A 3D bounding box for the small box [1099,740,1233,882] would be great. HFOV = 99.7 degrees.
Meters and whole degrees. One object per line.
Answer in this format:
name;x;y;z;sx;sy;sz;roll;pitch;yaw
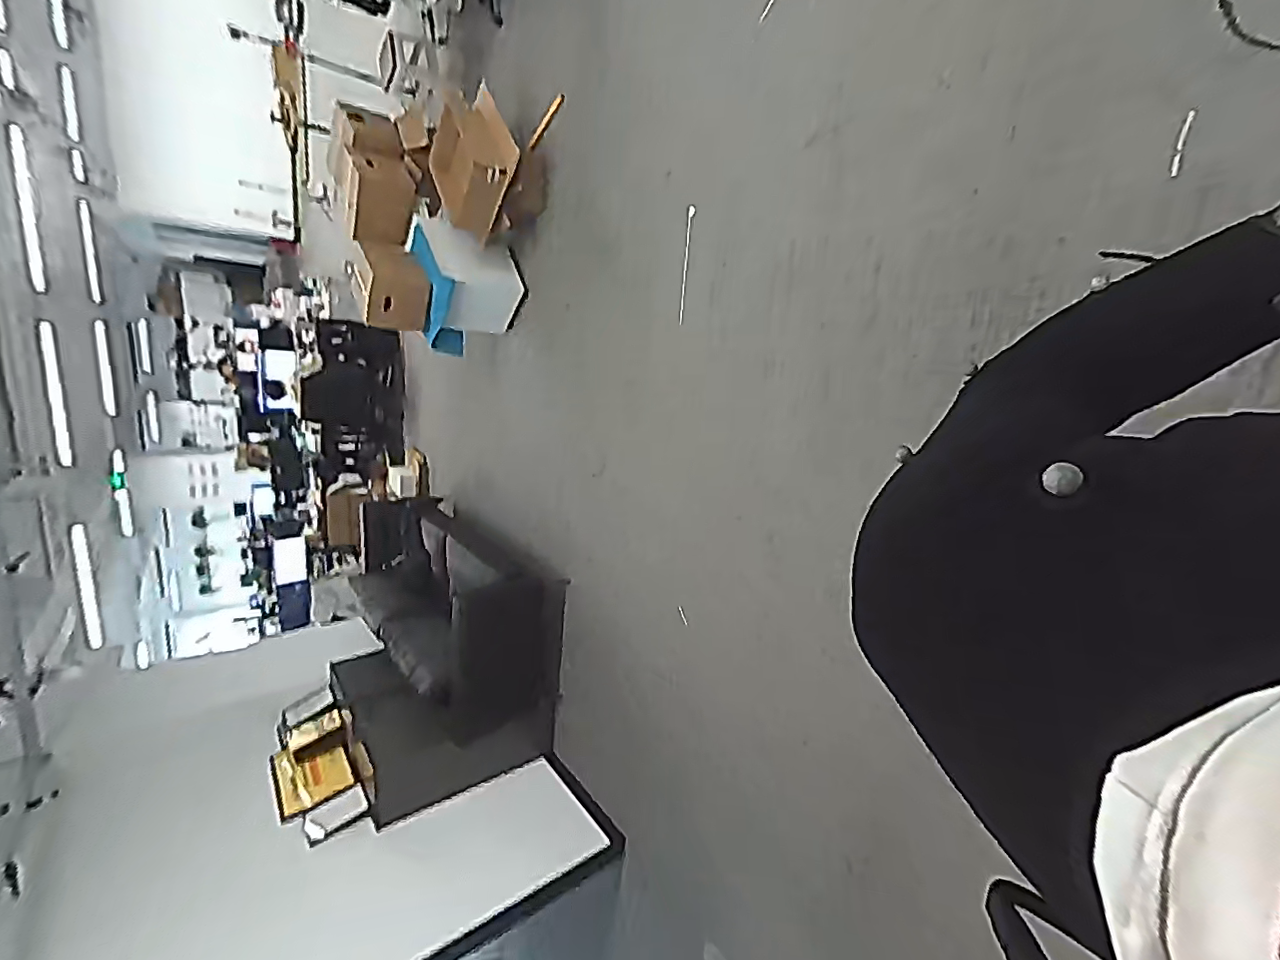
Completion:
small box;1.159;0.714;1.190;0.168;0.176;0.179;23;113;49
